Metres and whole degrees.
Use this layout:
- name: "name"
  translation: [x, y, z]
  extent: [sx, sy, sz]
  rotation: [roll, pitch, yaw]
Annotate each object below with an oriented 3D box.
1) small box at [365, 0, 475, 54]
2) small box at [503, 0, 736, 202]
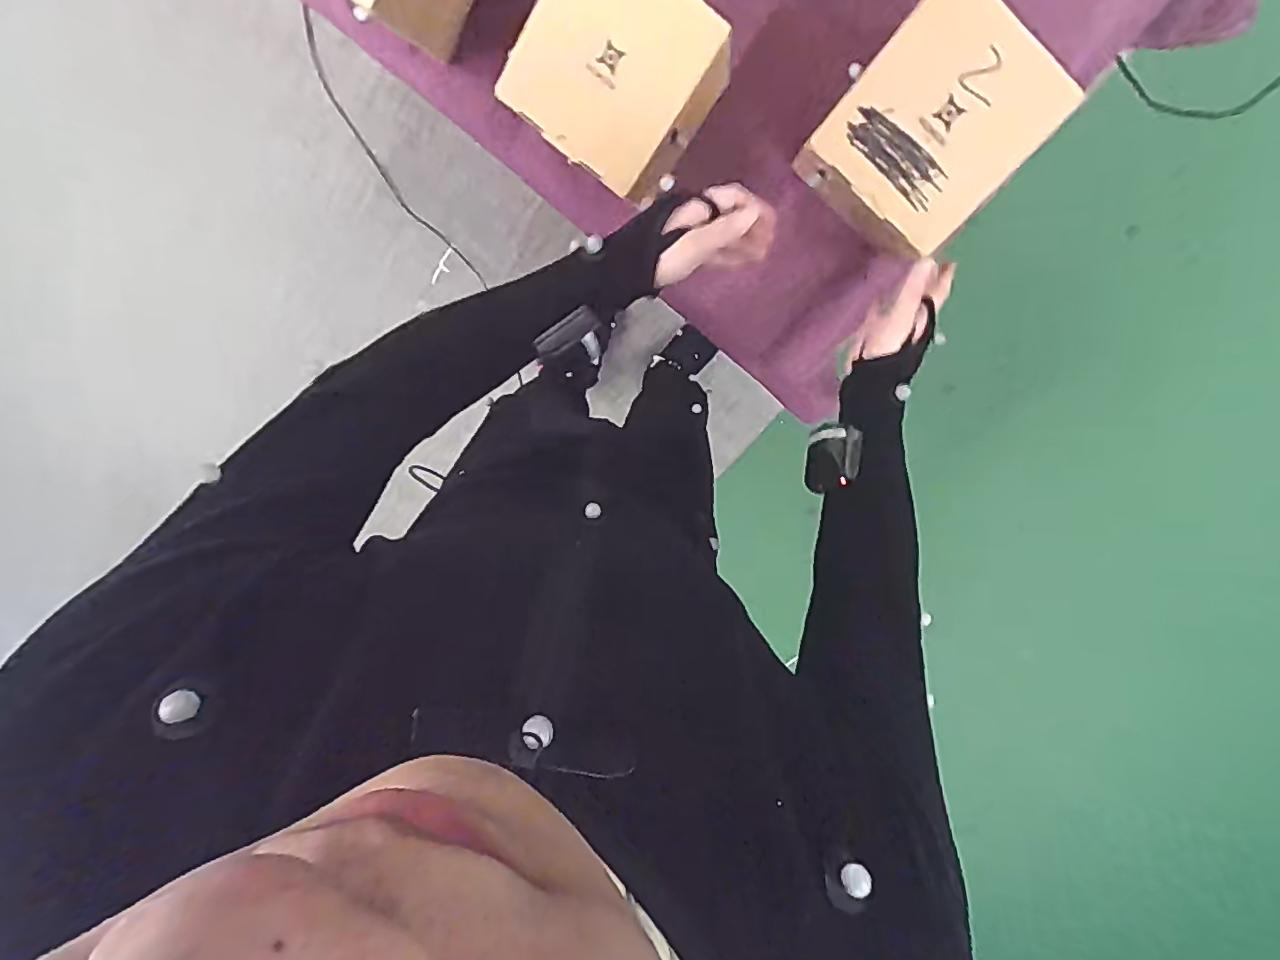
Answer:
- name: "small box"
  translation: [-0.261, -0.599, 0.555]
  extent: [0.168, 0.176, 0.179]
  rotation: [36, 113, -8]
- name: "small box"
  translation: [-0.015, -0.436, 0.592]
  extent: [0.168, 0.176, 0.179]
  rotation: [37, 114, -8]
